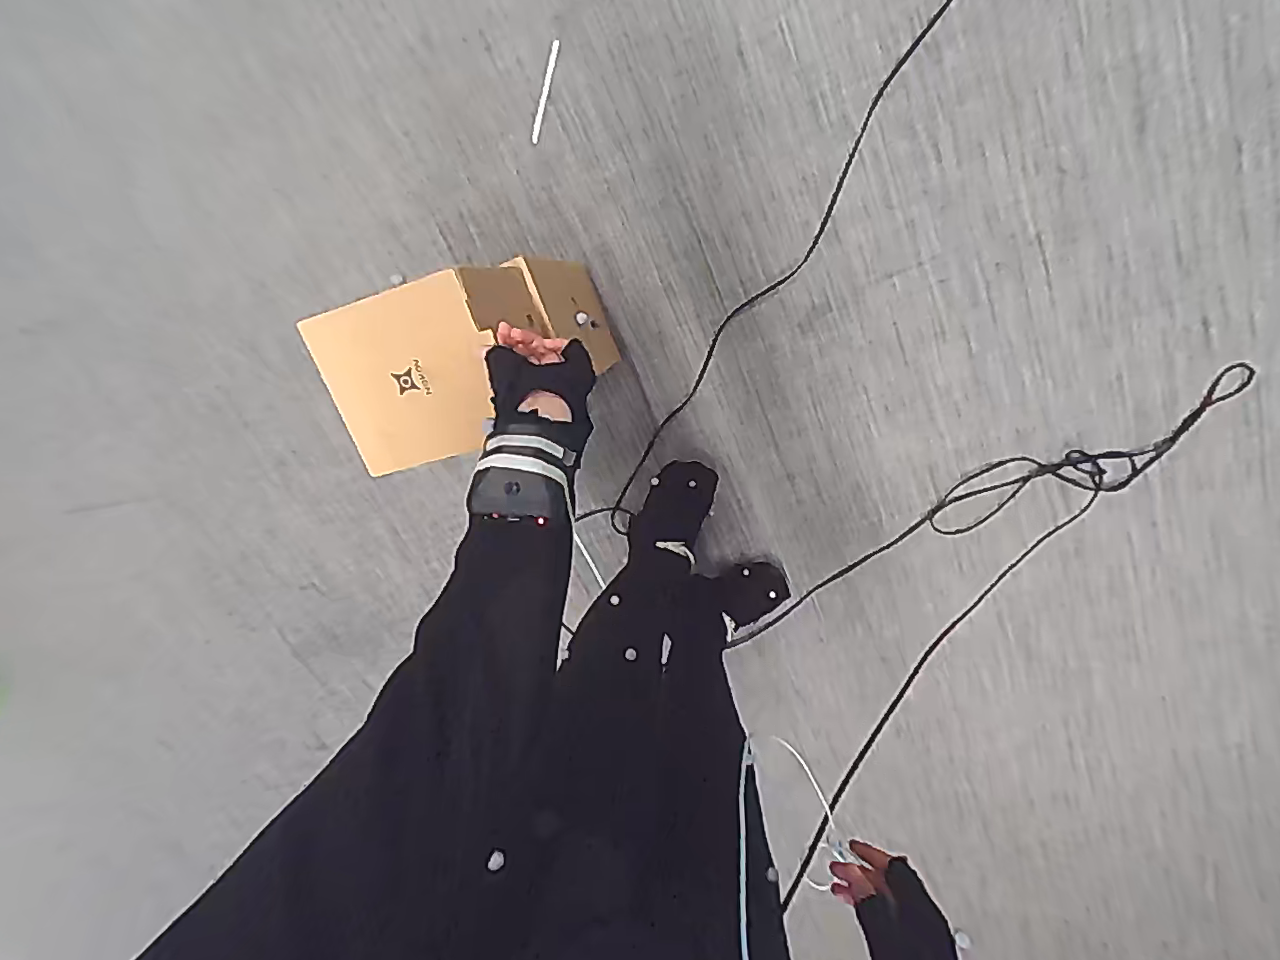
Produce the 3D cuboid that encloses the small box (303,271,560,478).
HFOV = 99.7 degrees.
[{"bbox_3d":[-0.211,-0.120,0.597,0.179,0.176,0.168,-14,108,12],"label":"small box"}]

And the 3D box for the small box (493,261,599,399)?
[{"bbox_3d":[-0.176,-0.186,0.743,0.179,0.176,0.168,-17,108,13],"label":"small box"}]

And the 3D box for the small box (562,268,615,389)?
[{"bbox_3d":[-0.153,-0.239,0.897,0.168,0.176,0.179,-18,108,14],"label":"small box"}]
